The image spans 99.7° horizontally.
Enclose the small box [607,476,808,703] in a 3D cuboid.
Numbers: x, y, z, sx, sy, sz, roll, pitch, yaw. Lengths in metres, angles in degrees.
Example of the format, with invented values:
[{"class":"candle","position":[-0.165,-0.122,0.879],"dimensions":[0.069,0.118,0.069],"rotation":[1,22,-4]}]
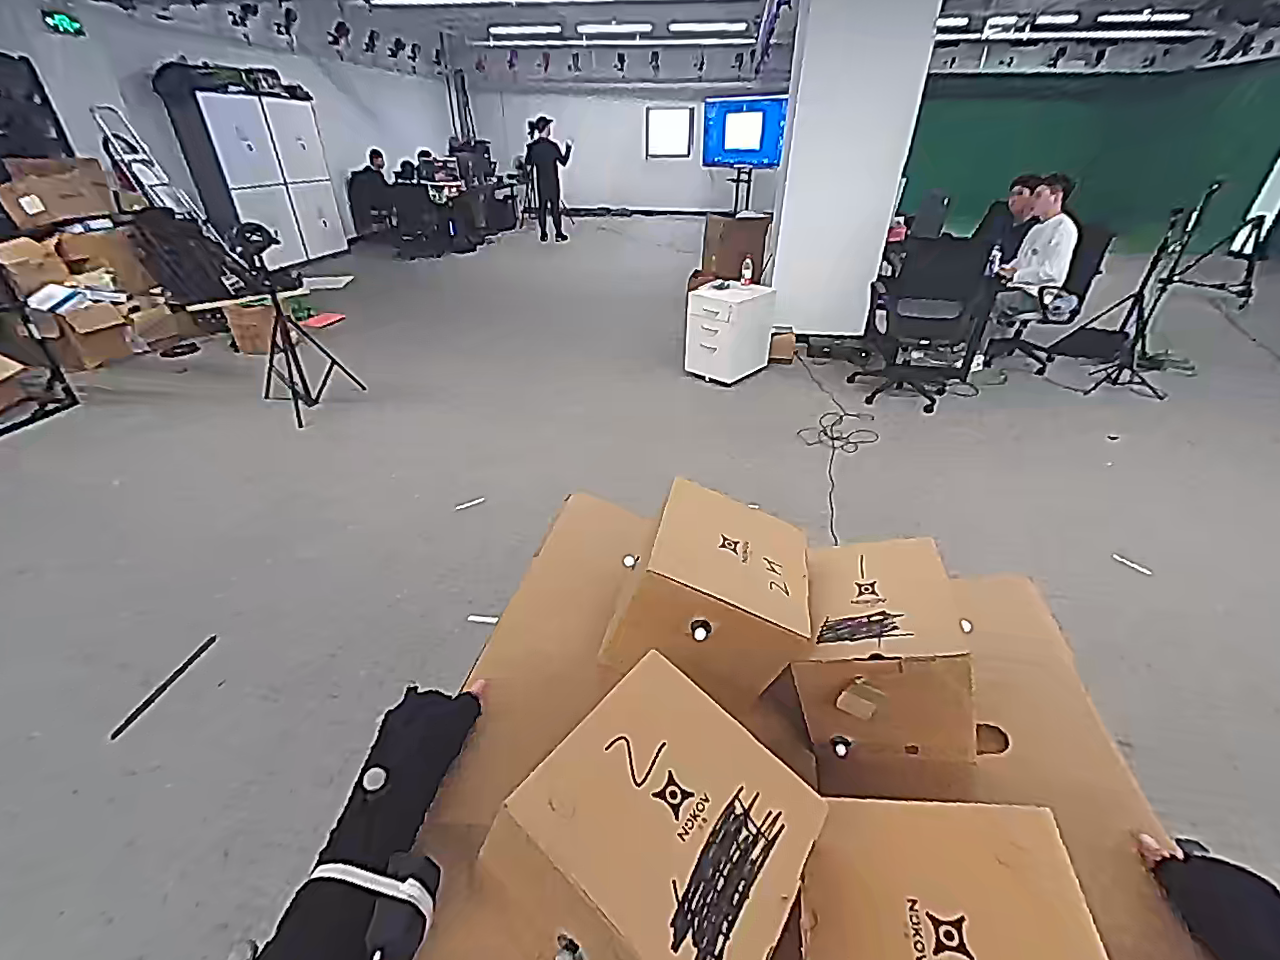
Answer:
[{"class":"small box","position":[0.077,0.131,0.638],"dimensions":[0.179,0.176,0.168],"rotation":[24,37,-1]}]
